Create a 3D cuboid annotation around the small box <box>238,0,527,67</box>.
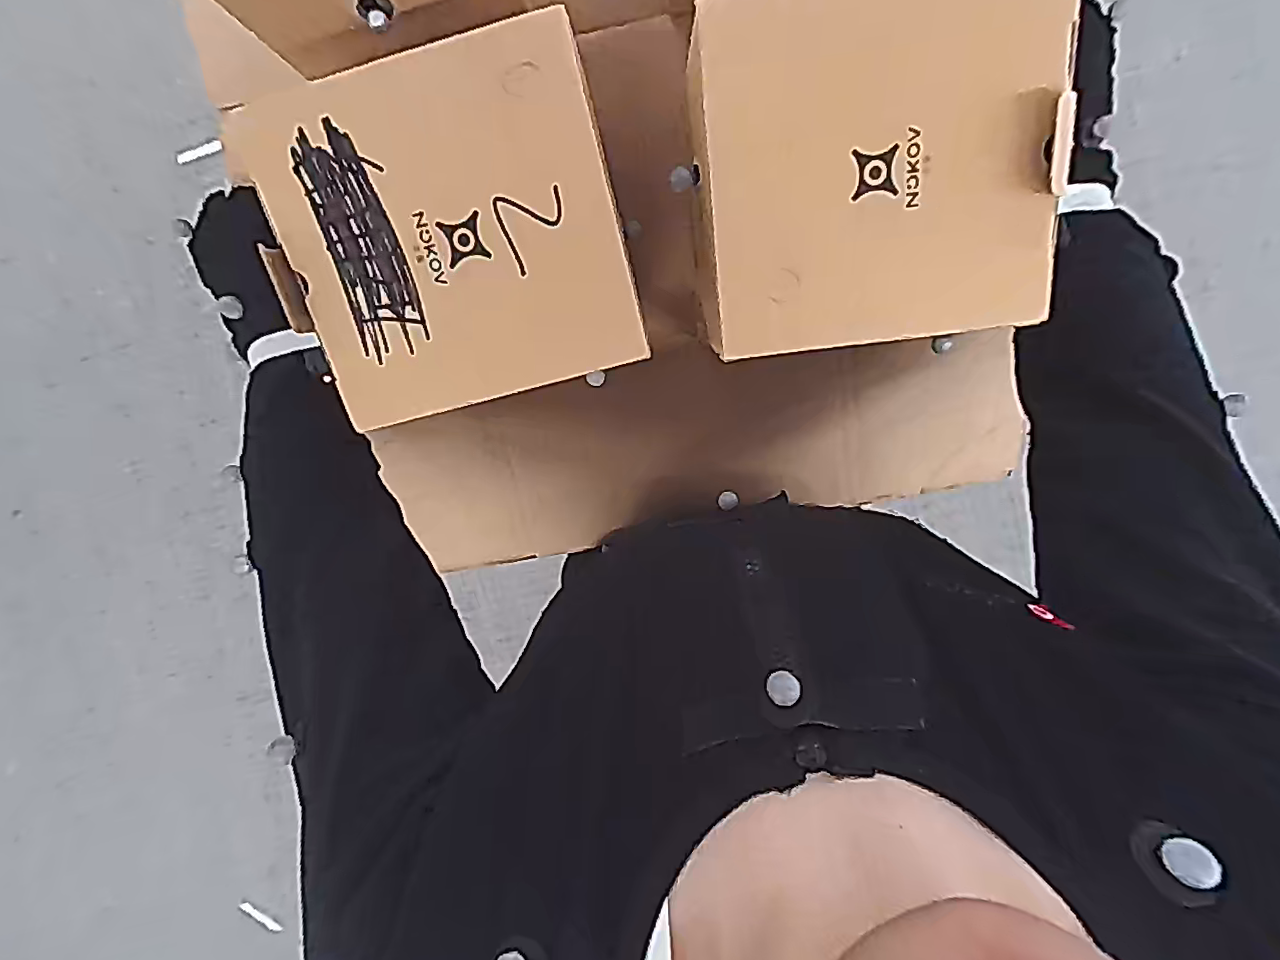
[{"bbox_3d":[-0.176,-0.378,0.308,0.168,0.176,0.179,-11,100,4],"label":"small box"}]
